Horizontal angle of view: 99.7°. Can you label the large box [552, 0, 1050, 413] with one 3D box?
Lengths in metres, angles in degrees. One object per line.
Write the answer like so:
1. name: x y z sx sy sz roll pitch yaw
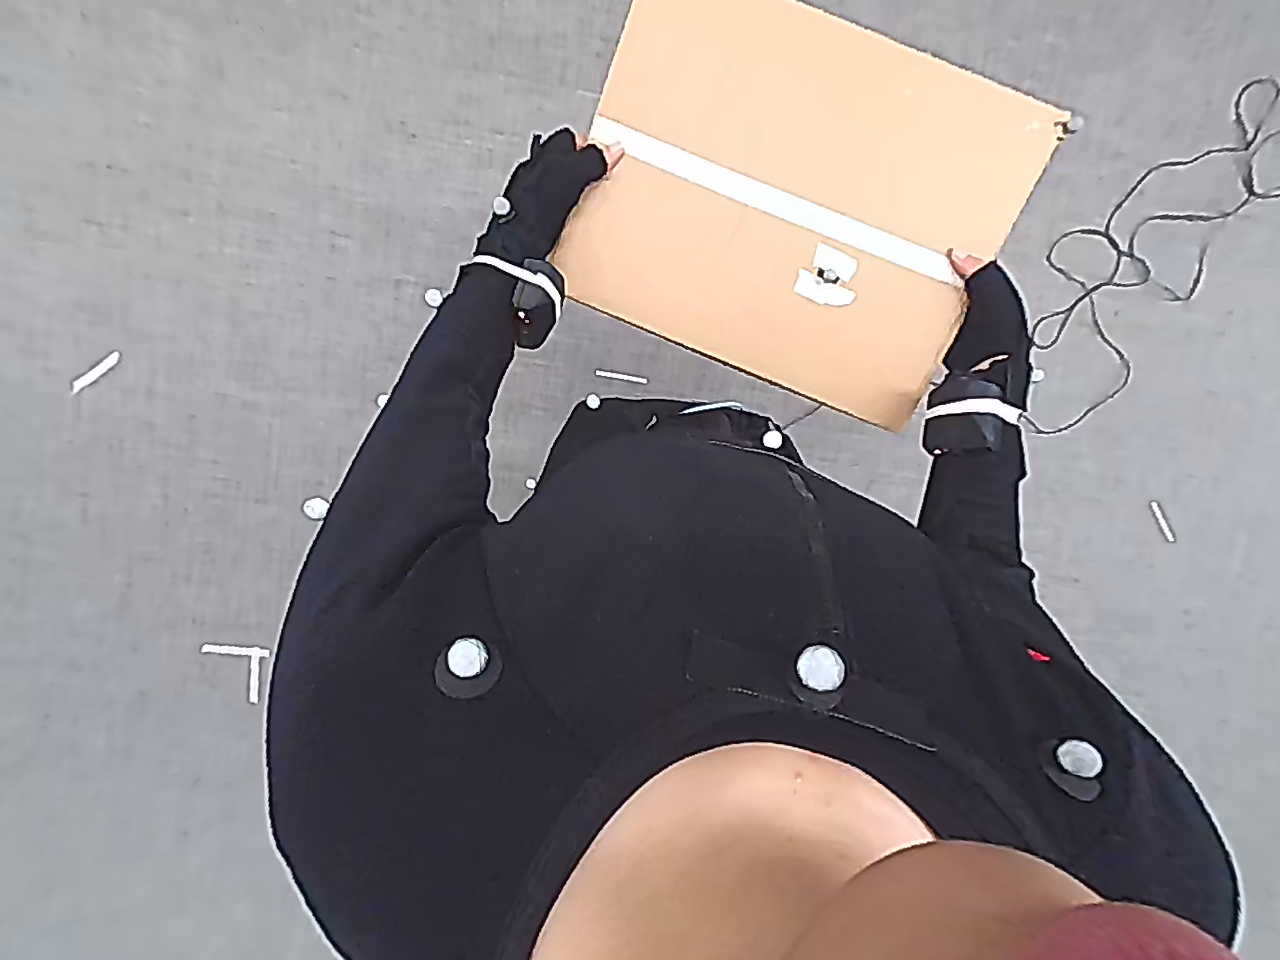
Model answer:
1. large box: 0.153 -0.313 0.676 0.408 0.320 0.320 22 106 -1
